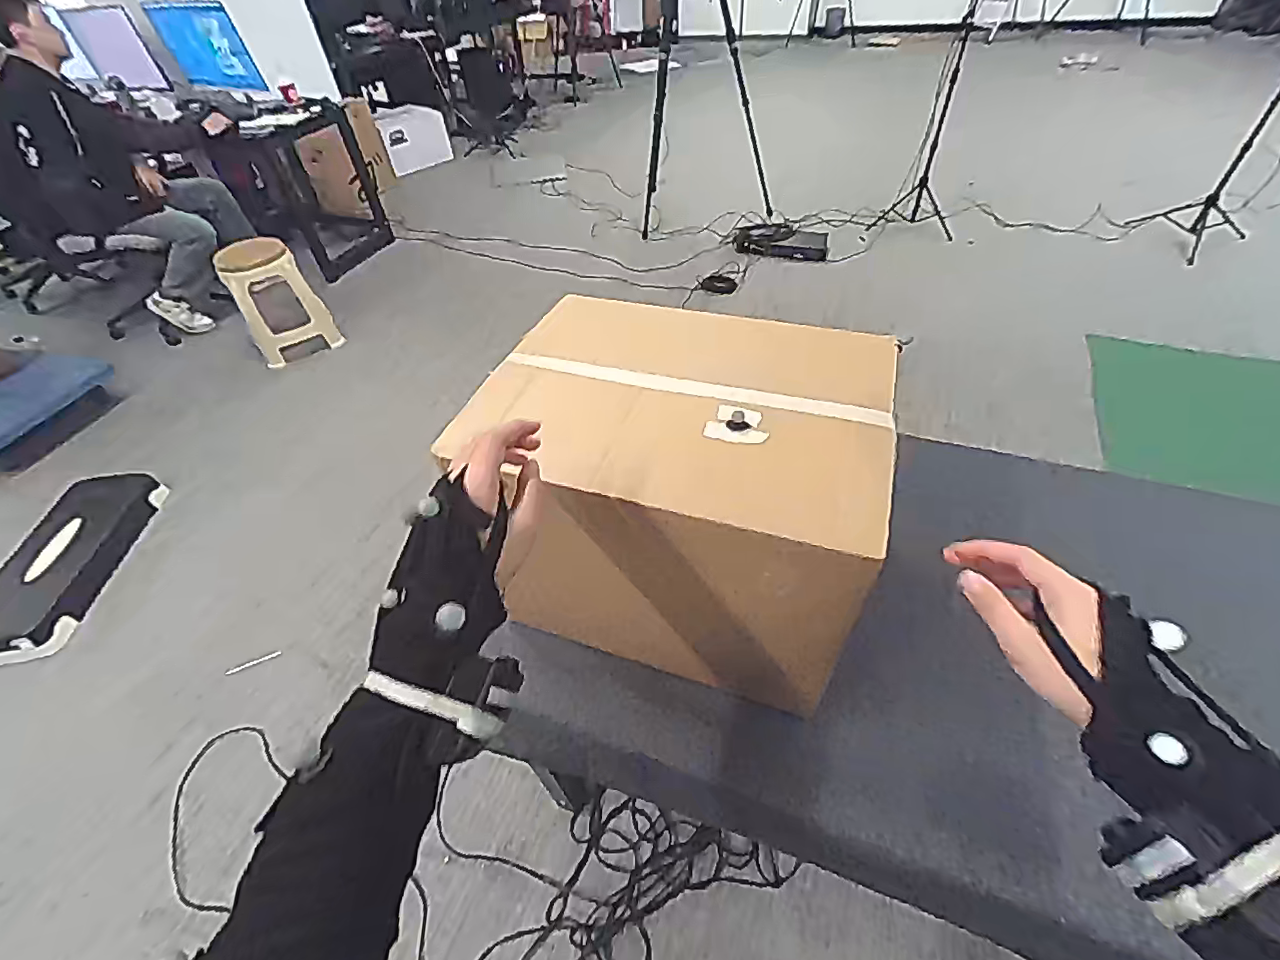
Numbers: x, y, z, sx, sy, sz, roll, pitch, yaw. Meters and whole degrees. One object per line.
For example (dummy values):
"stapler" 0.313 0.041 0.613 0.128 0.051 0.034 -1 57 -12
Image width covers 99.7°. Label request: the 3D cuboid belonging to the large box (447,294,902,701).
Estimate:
"large box" 0.056 0.010 0.657 0.408 0.320 0.320 13 49 15
